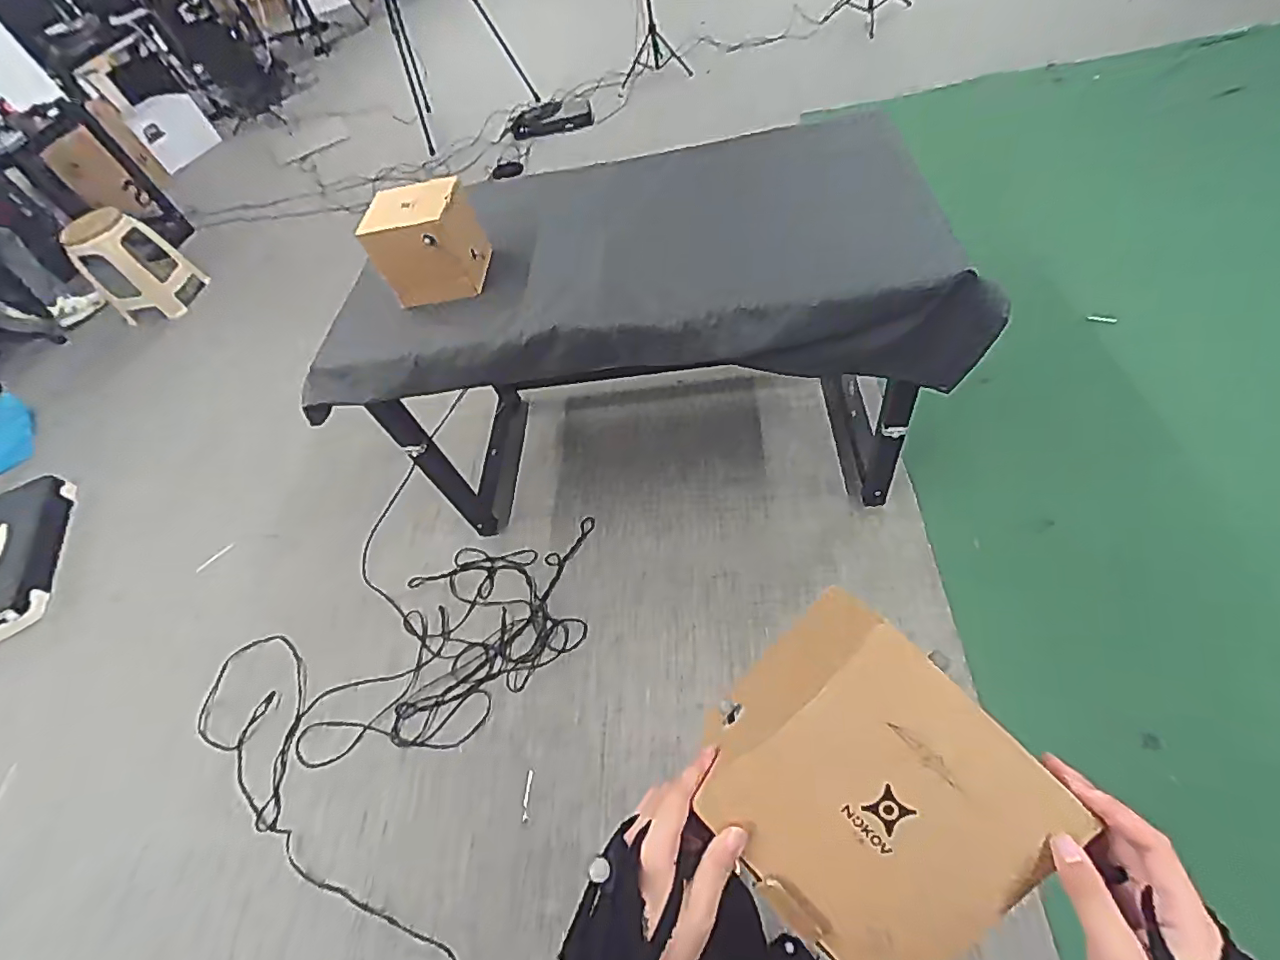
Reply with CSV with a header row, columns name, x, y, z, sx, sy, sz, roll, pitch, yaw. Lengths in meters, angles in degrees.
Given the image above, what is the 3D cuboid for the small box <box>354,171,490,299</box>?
name,x,y,z,sx,sy,sz,roll,pitch,yaw
small box,-0.428,-0.486,1.092,0.179,0.176,0.168,-6,54,8
